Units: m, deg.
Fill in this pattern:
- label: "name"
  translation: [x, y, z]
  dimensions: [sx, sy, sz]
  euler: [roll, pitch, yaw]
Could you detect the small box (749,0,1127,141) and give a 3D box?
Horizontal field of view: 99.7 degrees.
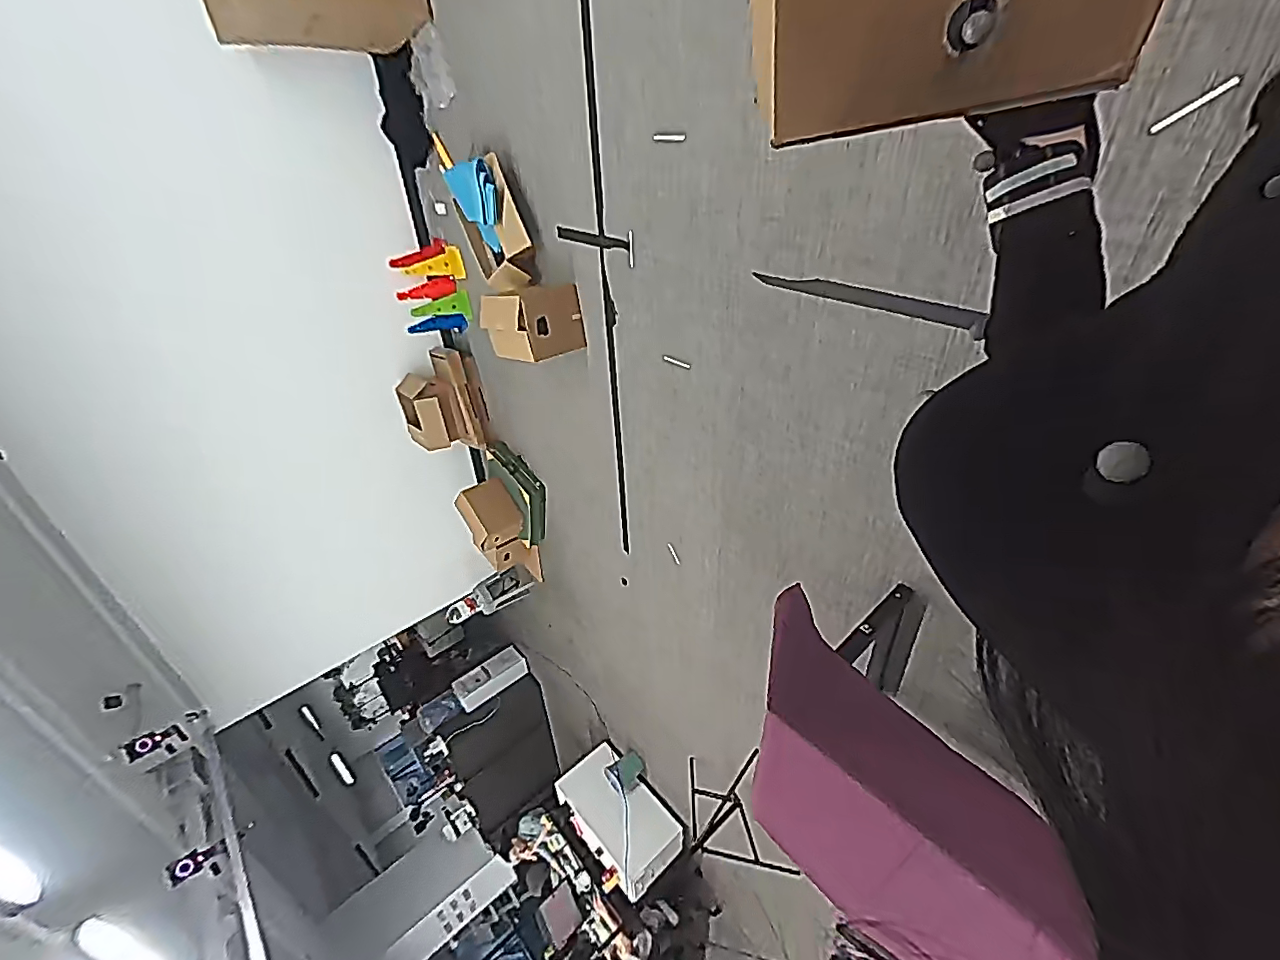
- label: "small box"
  translation: [0.145, -0.310, 0.274]
  dimensions: [0.179, 0.168, 0.176]
  euler: [-3, 140, 12]
